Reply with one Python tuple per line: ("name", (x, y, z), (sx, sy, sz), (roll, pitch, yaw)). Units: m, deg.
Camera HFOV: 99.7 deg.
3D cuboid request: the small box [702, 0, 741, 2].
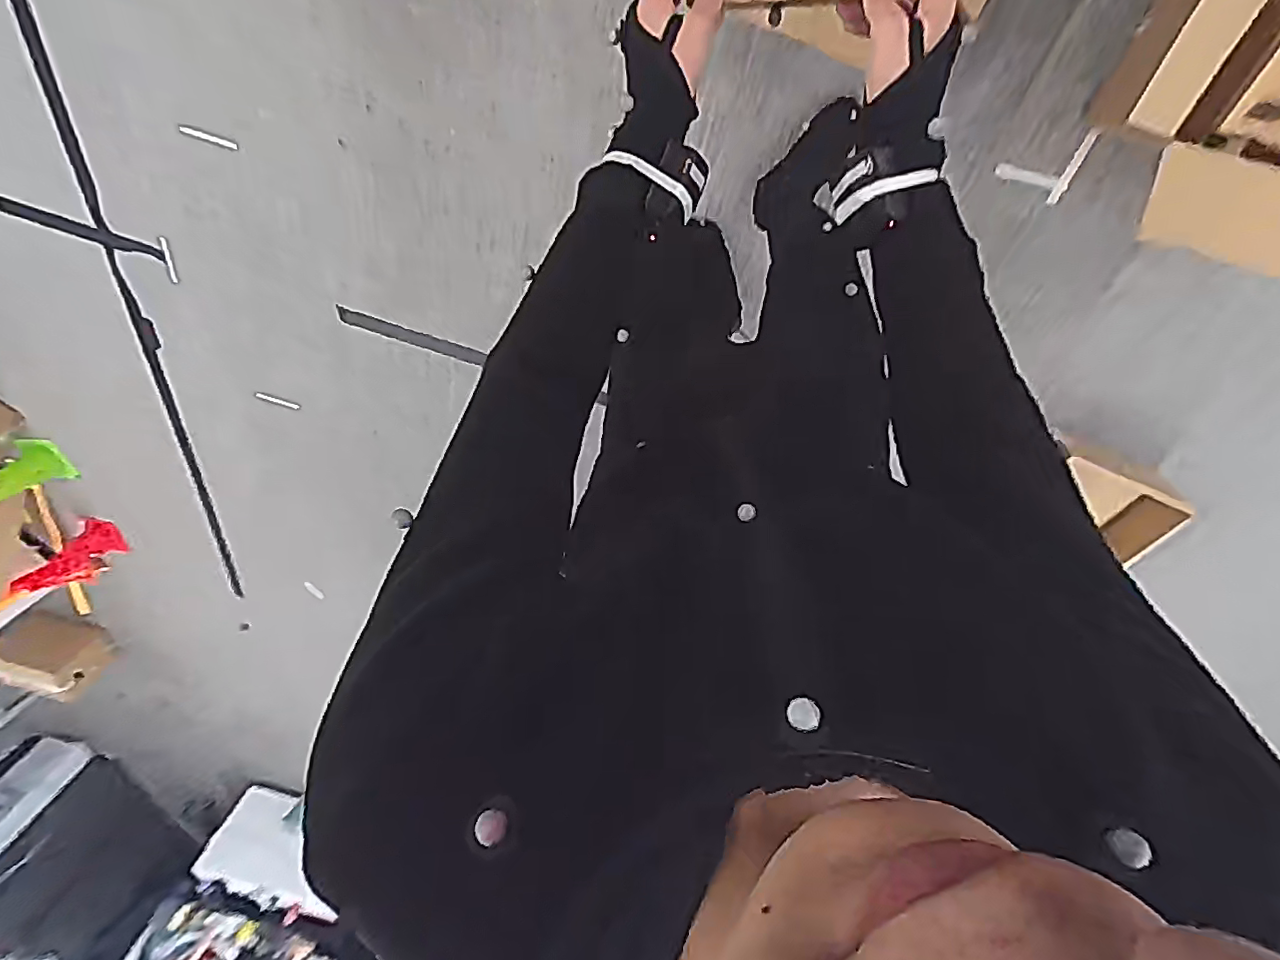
("small box", (0.125, -0.503, 0.436), (0.179, 0.176, 0.168), (1, 129, 5))
